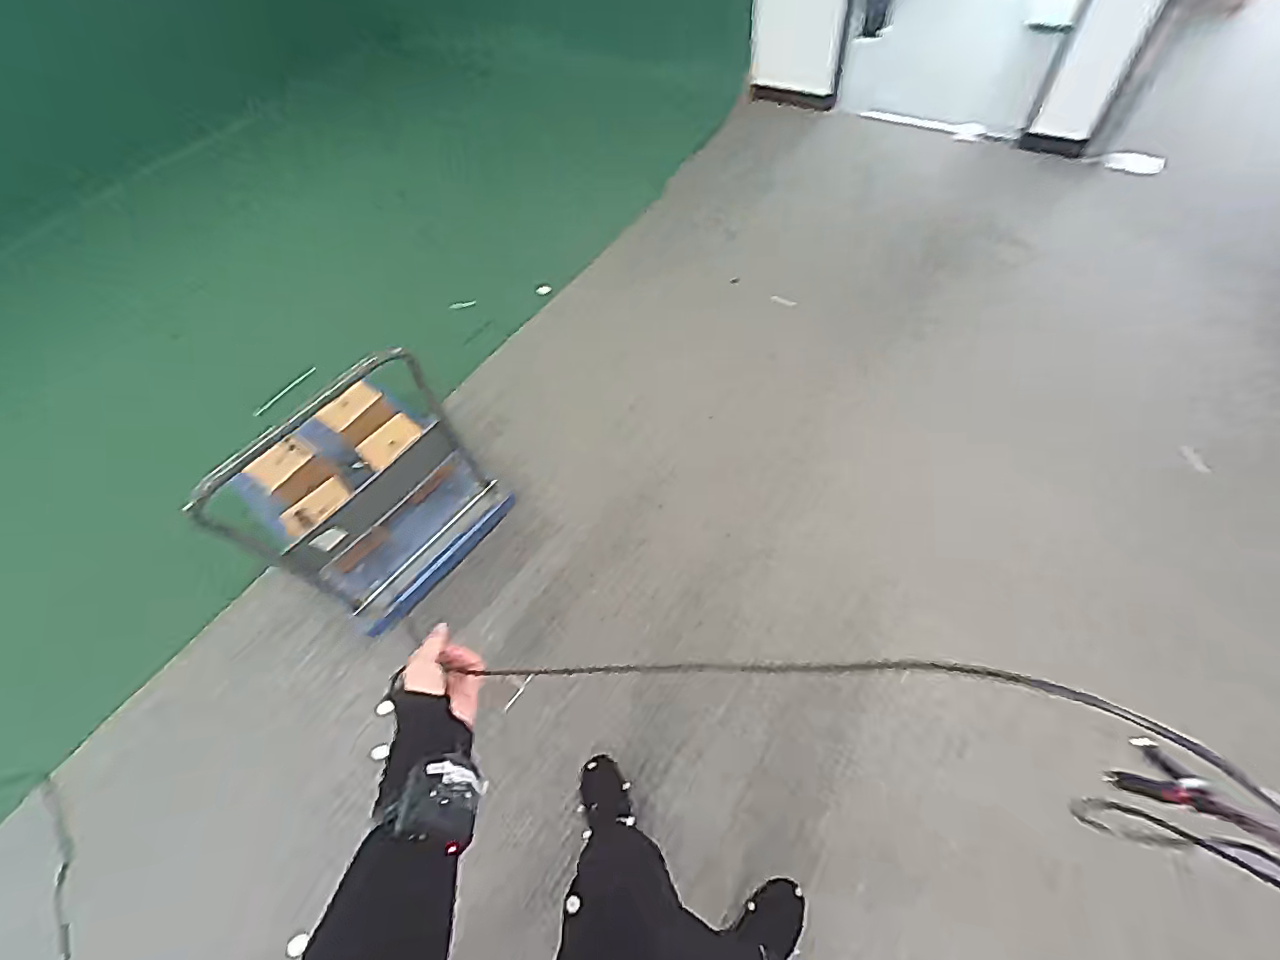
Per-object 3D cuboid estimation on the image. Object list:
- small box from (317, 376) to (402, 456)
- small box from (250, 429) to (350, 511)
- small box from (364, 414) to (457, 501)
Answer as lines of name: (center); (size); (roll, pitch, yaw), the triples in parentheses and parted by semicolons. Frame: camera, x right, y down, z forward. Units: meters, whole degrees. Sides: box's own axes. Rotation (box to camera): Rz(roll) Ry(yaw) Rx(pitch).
small box: (-0.910, -0.206, 1.790); (0.179, 0.176, 0.168); (31, 69, 22)
small box: (-1.060, -0.024, 1.702); (0.179, 0.176, 0.168); (31, 67, 23)
small box: (-0.707, -0.065, 1.681); (0.179, 0.176, 0.168); (36, 70, 24)
